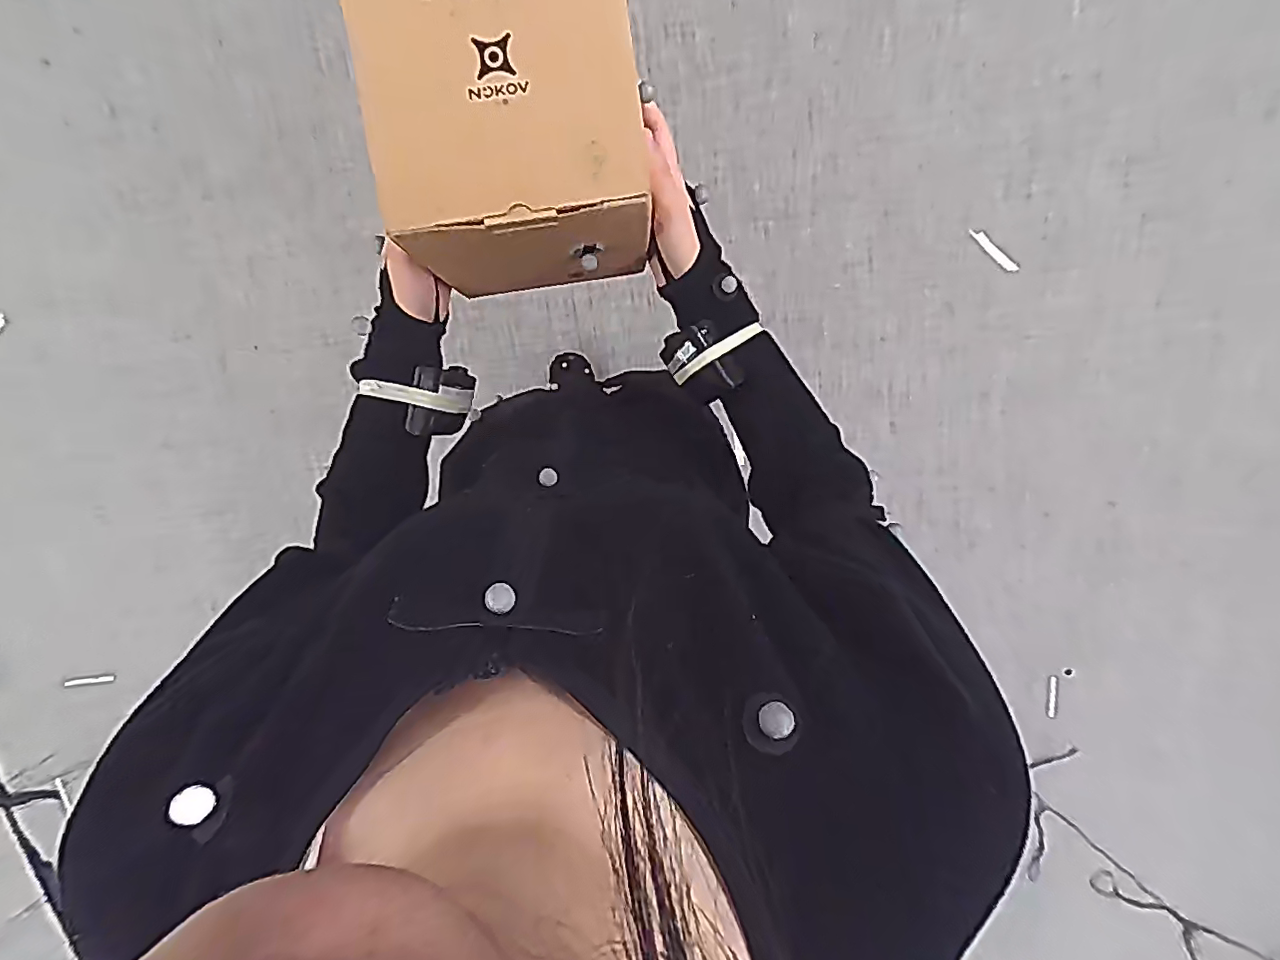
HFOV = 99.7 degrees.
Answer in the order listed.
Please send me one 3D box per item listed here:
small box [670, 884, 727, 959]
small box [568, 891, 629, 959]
[{"bbox_3d":[0.188,1.447,1.736,0.168,0.176,0.179,-6,103,1],"label":"small box"},{"bbox_3d":[-0.128,1.477,1.740,0.168,0.176,0.179,-8,102,1],"label":"small box"}]
